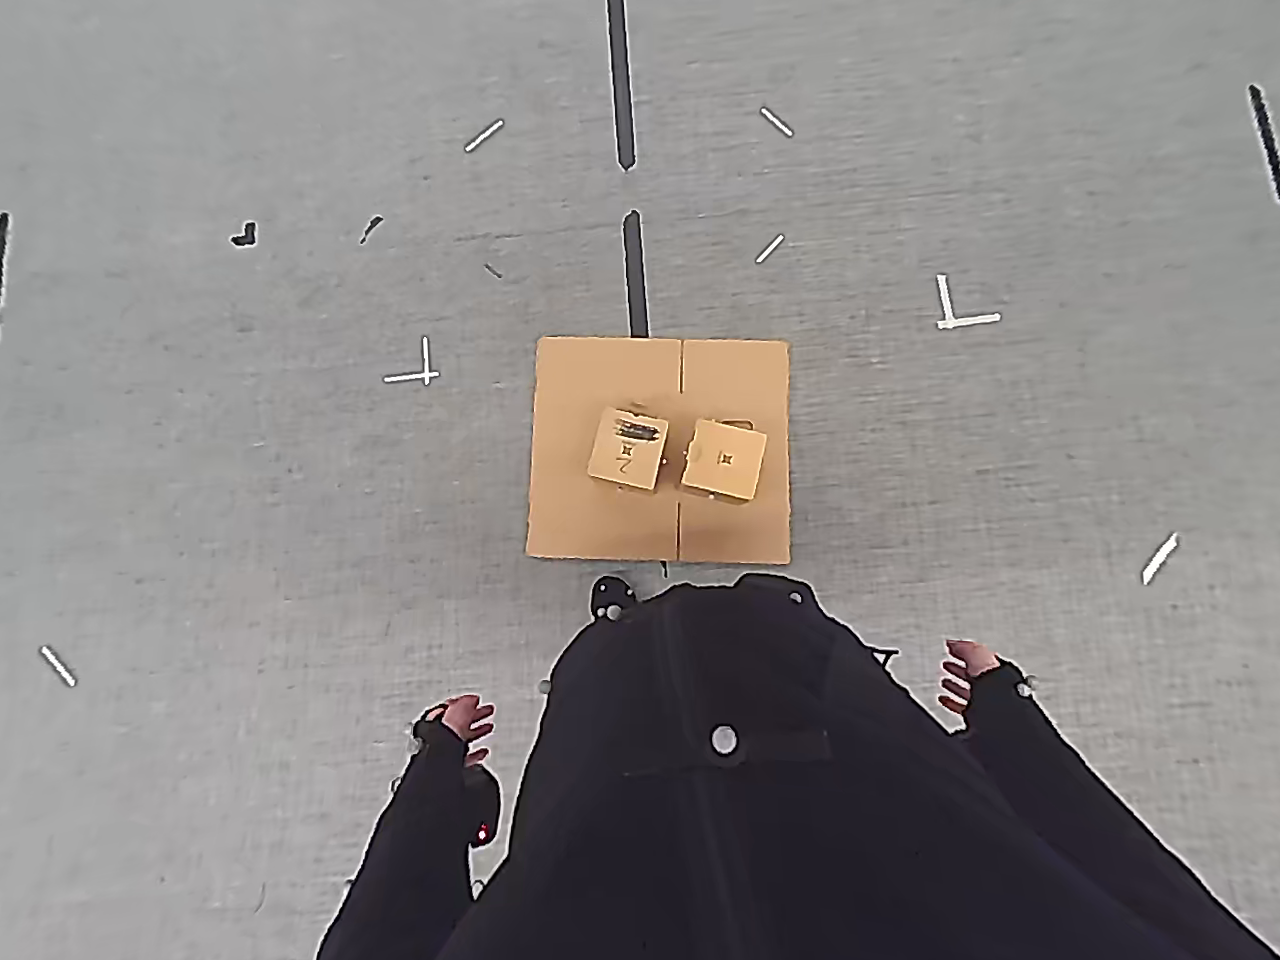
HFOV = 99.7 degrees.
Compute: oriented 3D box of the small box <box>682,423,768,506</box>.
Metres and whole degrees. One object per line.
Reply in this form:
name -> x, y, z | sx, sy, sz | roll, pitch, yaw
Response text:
small box -> 0.209, -0.033, 1.378 | 0.179, 0.176, 0.168 | 13, 83, 4
